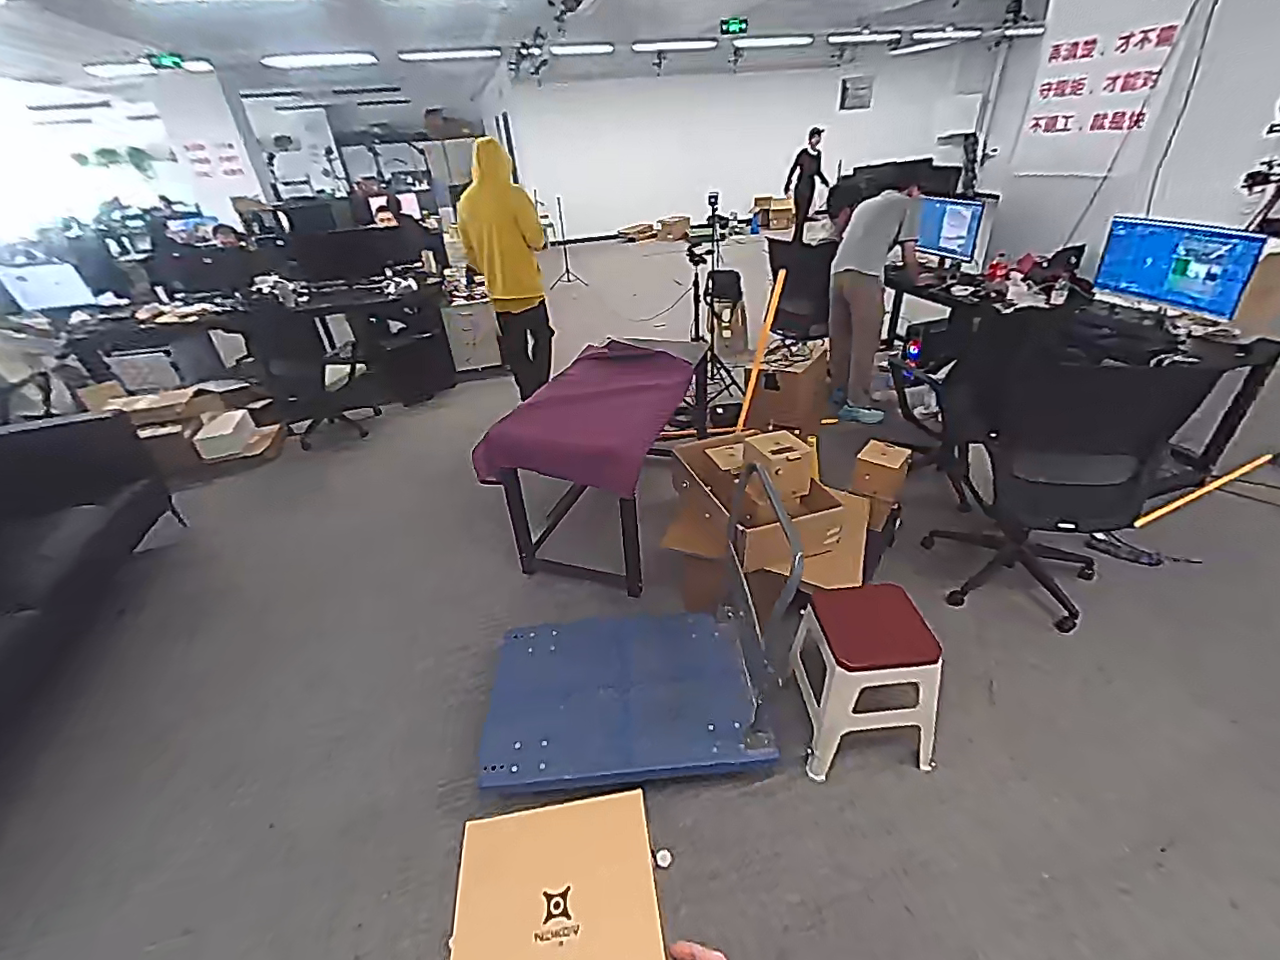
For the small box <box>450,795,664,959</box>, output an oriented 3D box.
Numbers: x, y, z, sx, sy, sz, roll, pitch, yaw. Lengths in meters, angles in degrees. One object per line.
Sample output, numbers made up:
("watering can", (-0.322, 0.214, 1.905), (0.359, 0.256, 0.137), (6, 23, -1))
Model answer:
("small box", (-0.064, 0.422, 0.485), (0.168, 0.176, 0.179), (-8, 36, -3))
